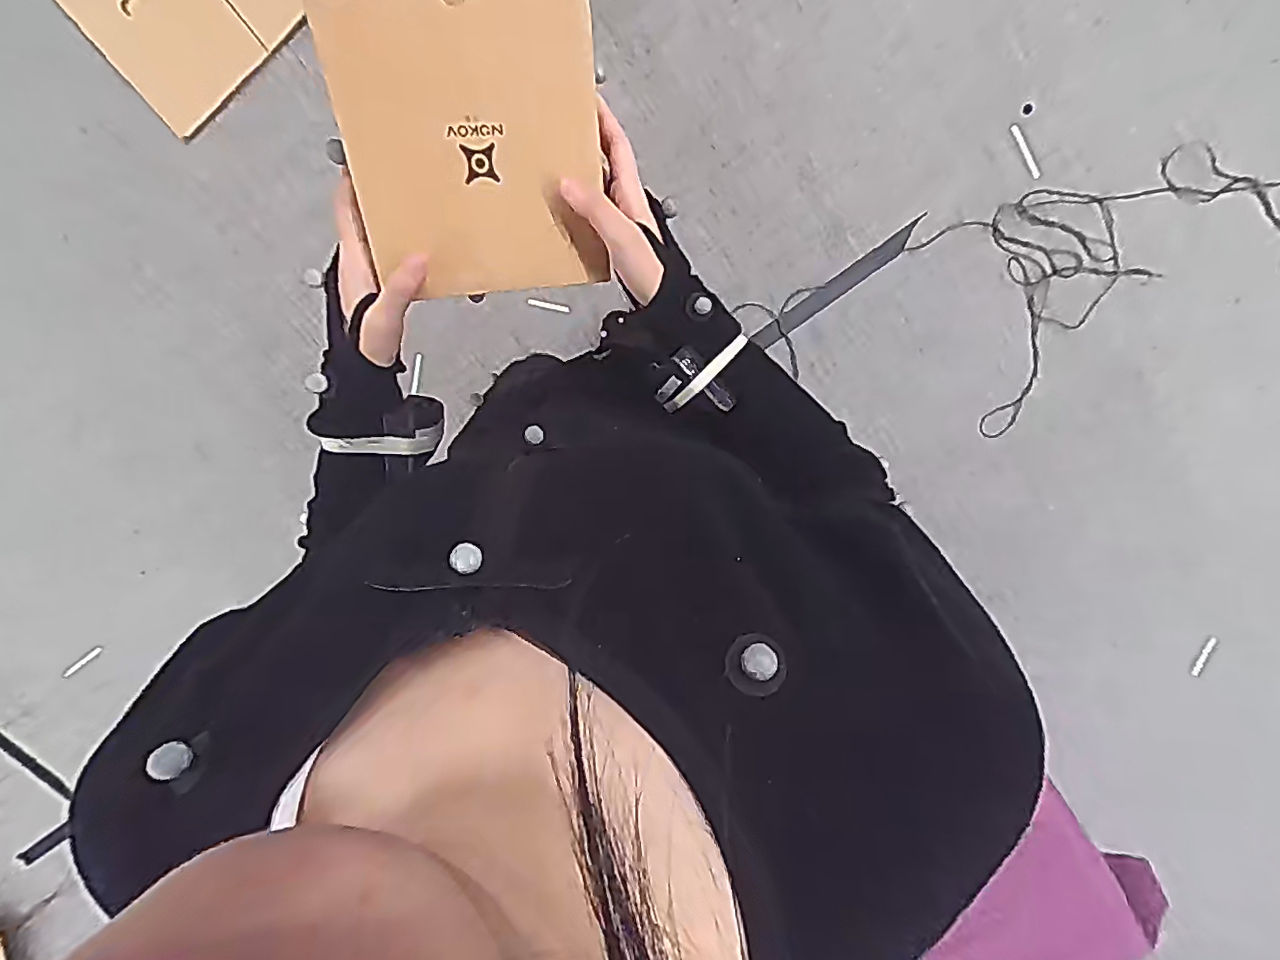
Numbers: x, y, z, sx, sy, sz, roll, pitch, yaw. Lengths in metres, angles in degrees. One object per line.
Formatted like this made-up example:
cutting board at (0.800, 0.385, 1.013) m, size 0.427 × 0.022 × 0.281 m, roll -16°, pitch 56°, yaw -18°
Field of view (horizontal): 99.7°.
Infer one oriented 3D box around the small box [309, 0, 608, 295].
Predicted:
small box at (-0.124, -0.253, 0.424) m, size 0.168 × 0.176 × 0.179 m, roll -9°, pitch 117°, yaw -11°
